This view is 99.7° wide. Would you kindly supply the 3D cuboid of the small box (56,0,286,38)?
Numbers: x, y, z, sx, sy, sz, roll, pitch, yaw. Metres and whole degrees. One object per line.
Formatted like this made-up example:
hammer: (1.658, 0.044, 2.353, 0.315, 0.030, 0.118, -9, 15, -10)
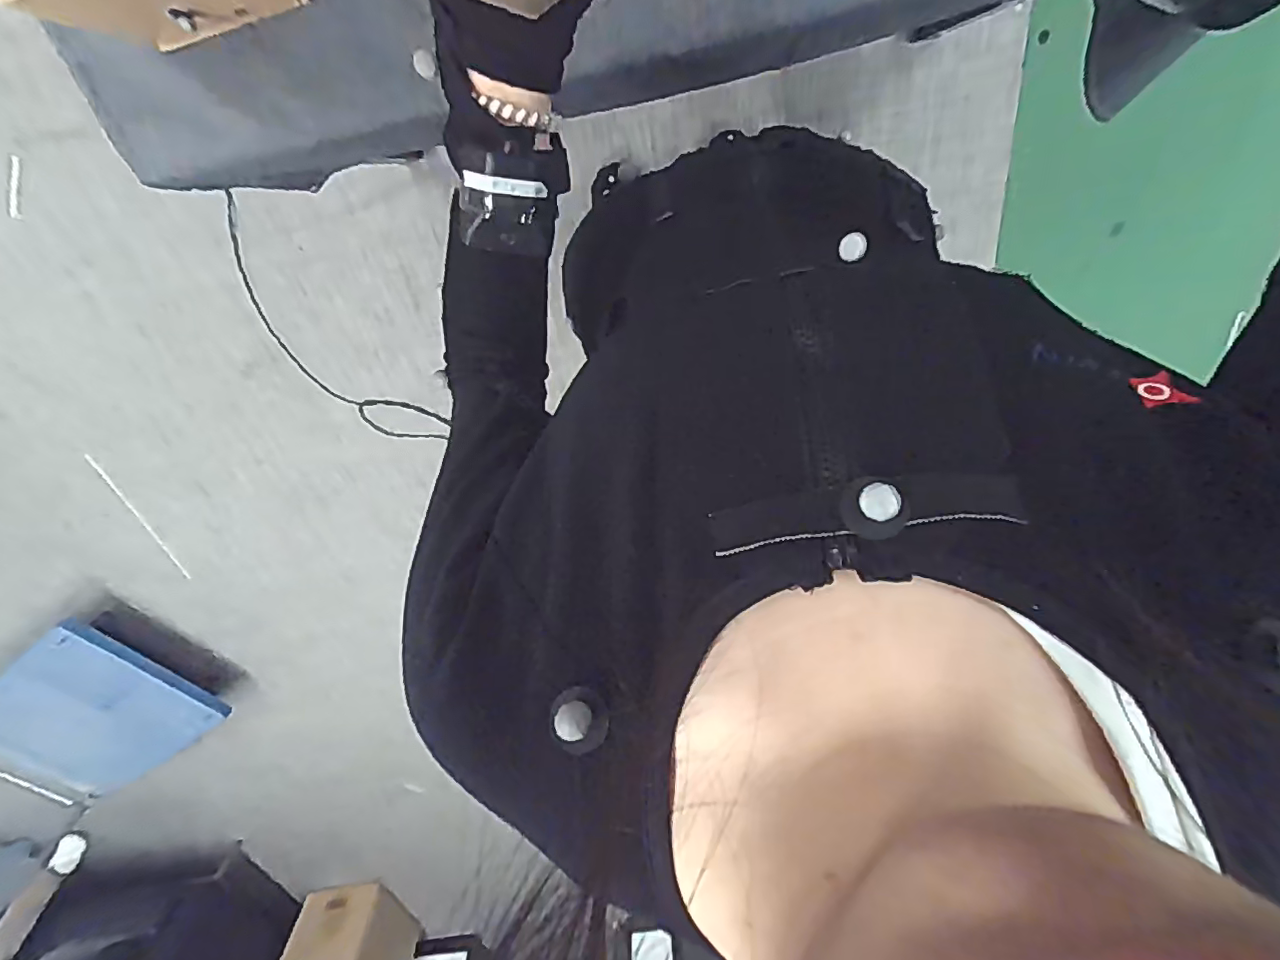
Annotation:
small box: (-0.407, -0.472, 0.401, 0.168, 0.176, 0.179, -13, 120, 6)
